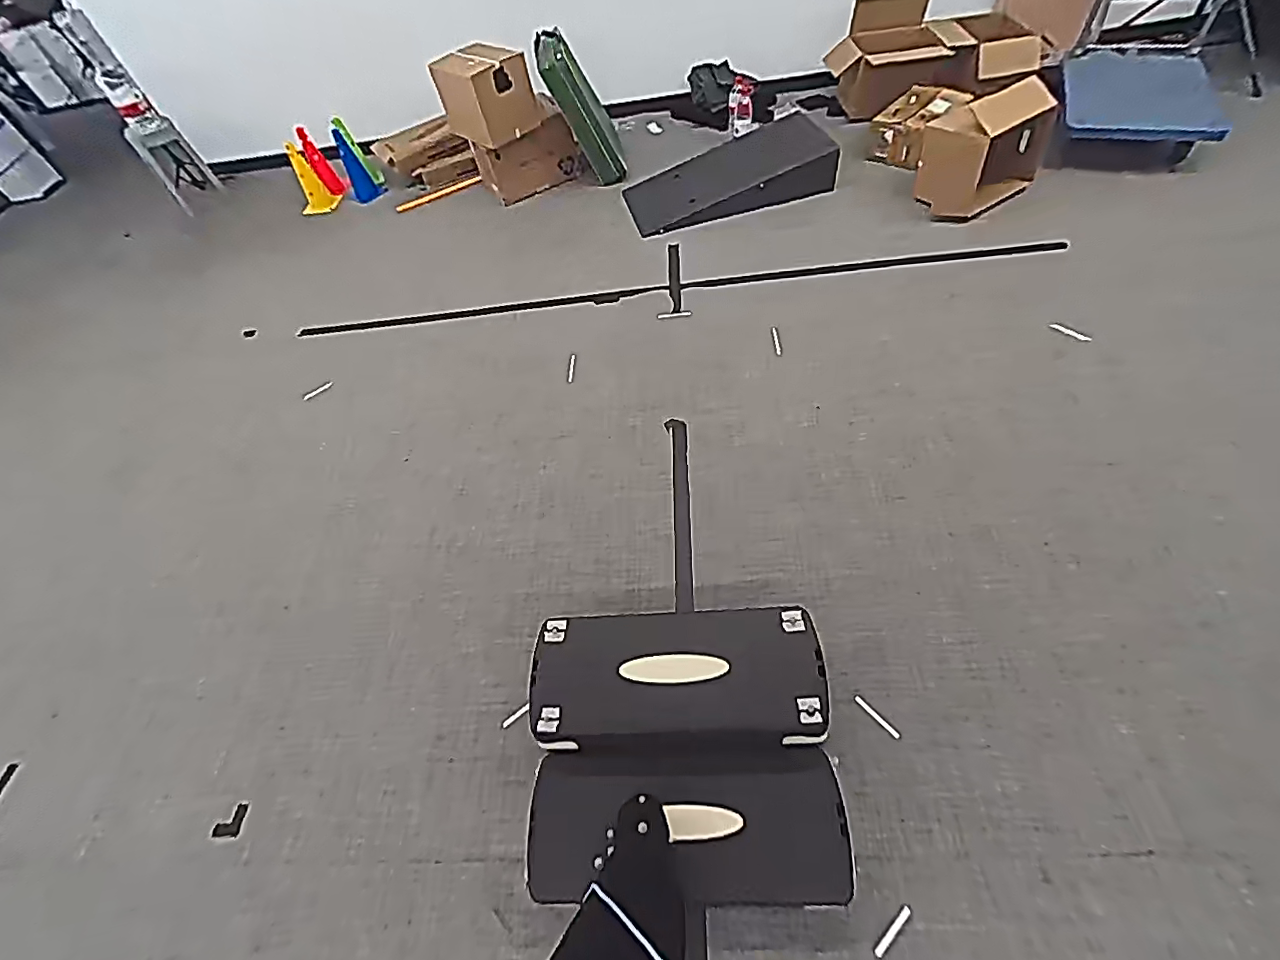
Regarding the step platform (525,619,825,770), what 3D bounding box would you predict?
[{"bbox_3d":[0.076,0.504,1.277,0.684,0.204,0.286,-4,54,5],"label":"step platform"}]
